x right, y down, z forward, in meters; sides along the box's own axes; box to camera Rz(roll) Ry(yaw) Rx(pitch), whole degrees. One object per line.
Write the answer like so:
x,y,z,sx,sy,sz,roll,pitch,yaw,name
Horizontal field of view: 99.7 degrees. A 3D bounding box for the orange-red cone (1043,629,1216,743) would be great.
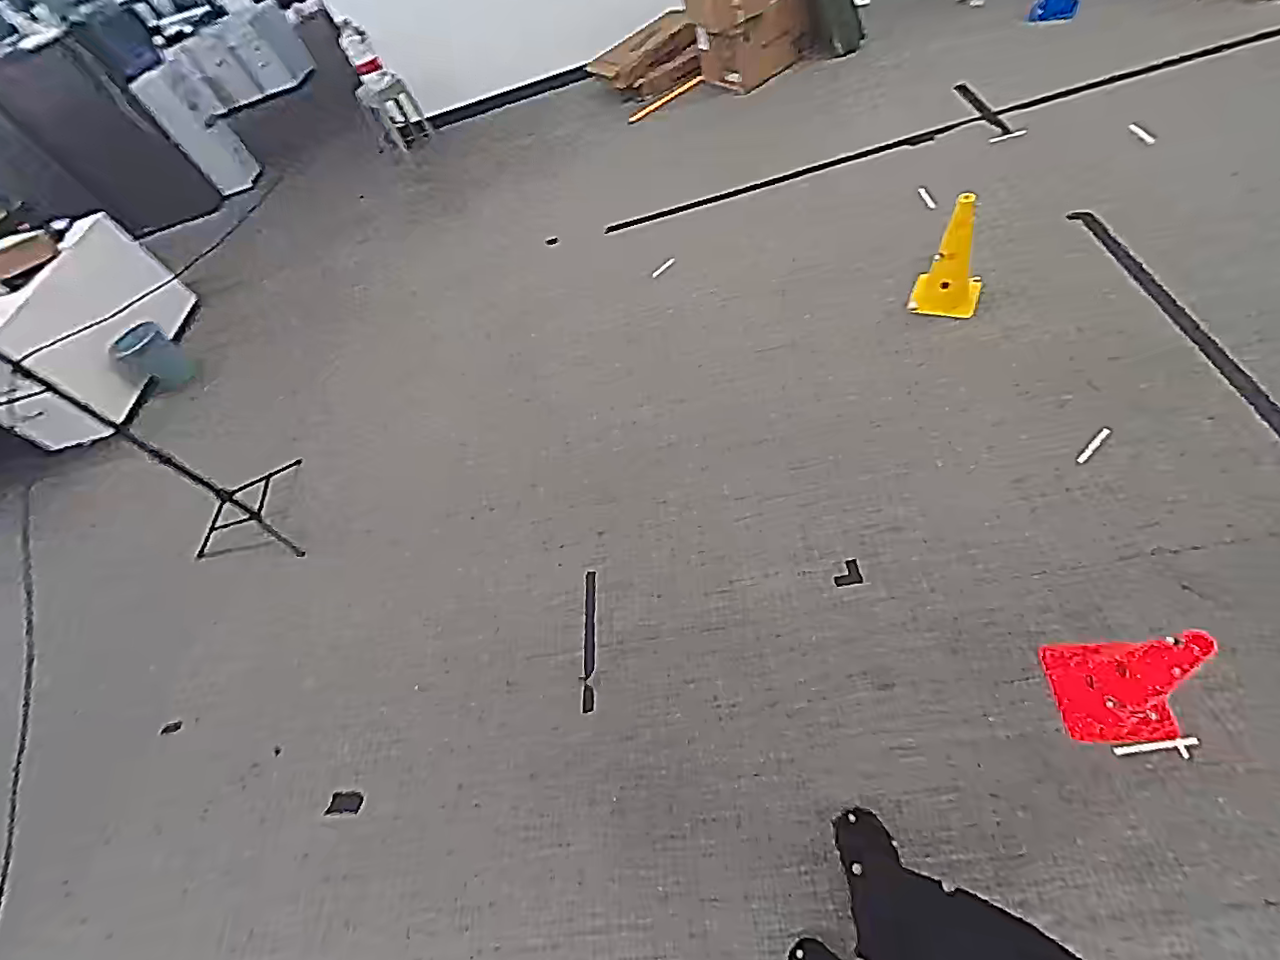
0.951,0.353,1.013,0.198,0.360,0.199,-5,54,13,orange-red cone
